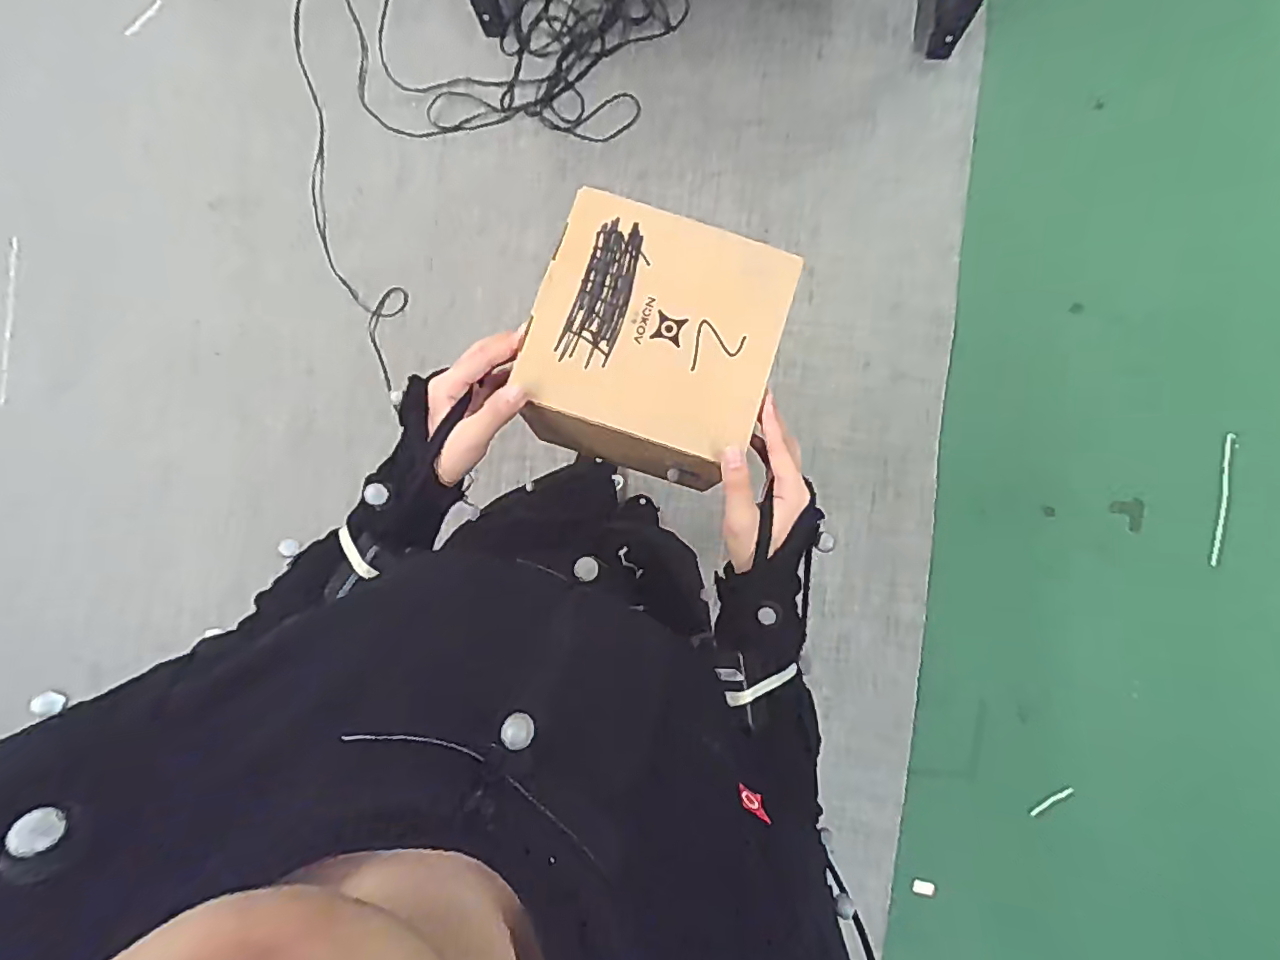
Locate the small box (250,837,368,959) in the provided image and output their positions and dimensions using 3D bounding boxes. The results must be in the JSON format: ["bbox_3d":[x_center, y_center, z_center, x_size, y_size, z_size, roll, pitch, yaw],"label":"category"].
[{"bbox_3d":[-0.818,1.032,1.348,0.179,0.176,0.168,8,90,4],"label":"small box"}]
